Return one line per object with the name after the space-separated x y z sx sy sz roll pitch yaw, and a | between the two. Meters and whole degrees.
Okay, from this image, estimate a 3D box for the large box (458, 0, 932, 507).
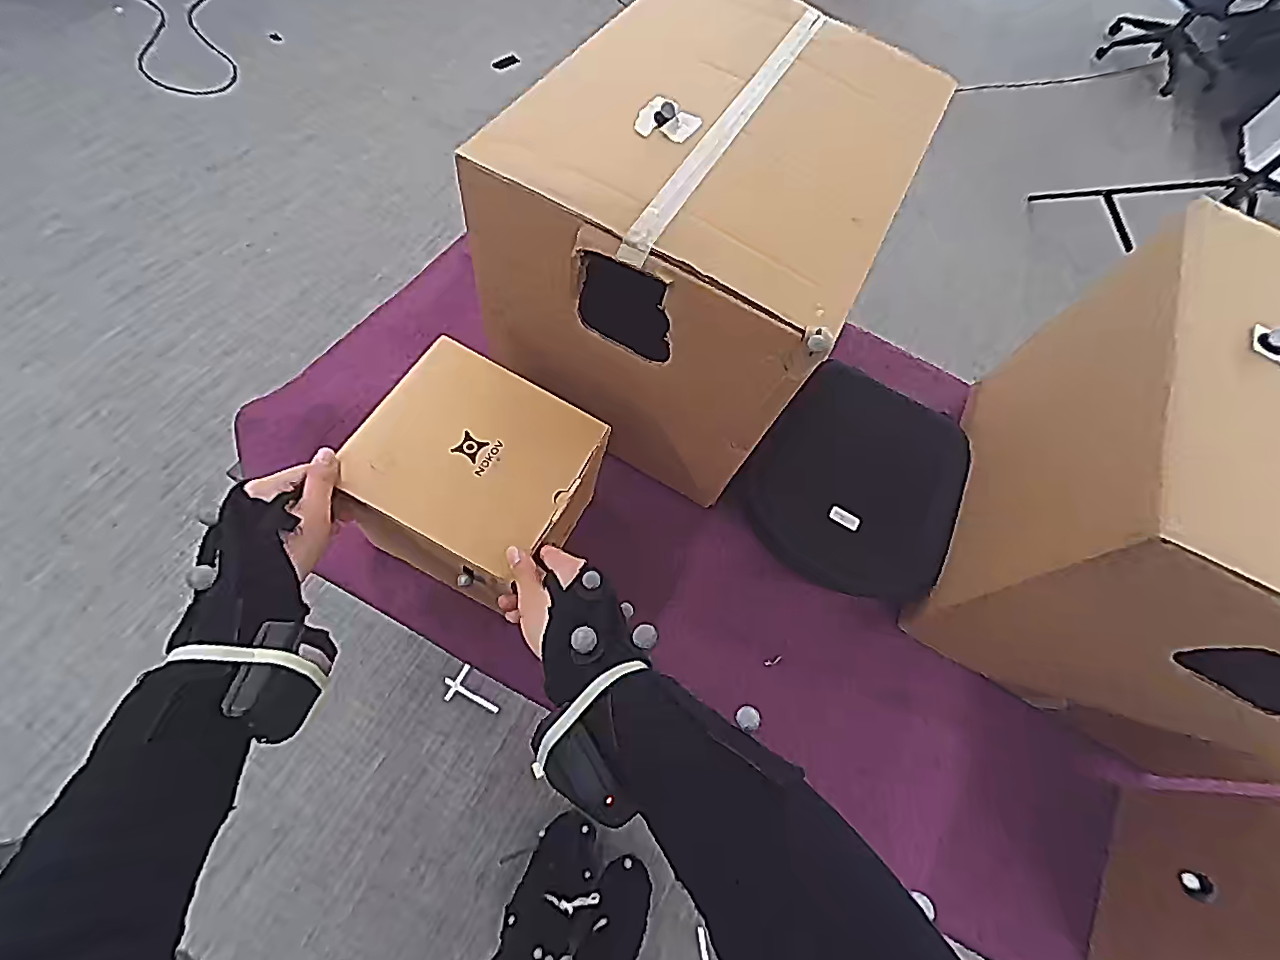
0.059 -0.247 0.617 0.320 0.320 0.408 28 66 5 | large box
